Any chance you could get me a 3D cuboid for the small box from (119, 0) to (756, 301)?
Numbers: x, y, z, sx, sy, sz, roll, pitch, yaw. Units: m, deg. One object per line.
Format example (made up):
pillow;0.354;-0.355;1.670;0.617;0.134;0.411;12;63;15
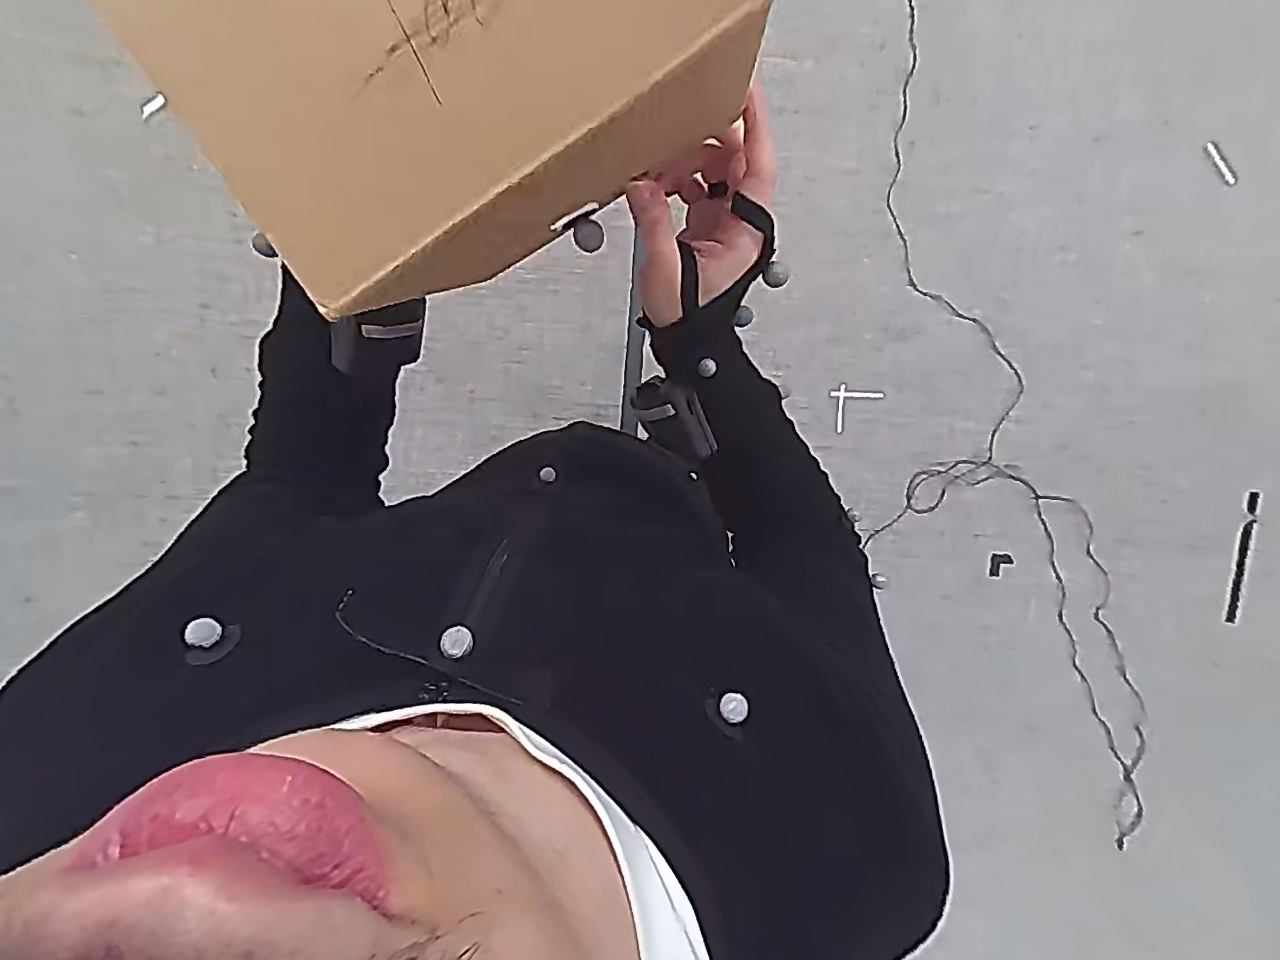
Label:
small box;-0.069;-0.197;0.218;0.168;0.176;0.179;-26;109;19
